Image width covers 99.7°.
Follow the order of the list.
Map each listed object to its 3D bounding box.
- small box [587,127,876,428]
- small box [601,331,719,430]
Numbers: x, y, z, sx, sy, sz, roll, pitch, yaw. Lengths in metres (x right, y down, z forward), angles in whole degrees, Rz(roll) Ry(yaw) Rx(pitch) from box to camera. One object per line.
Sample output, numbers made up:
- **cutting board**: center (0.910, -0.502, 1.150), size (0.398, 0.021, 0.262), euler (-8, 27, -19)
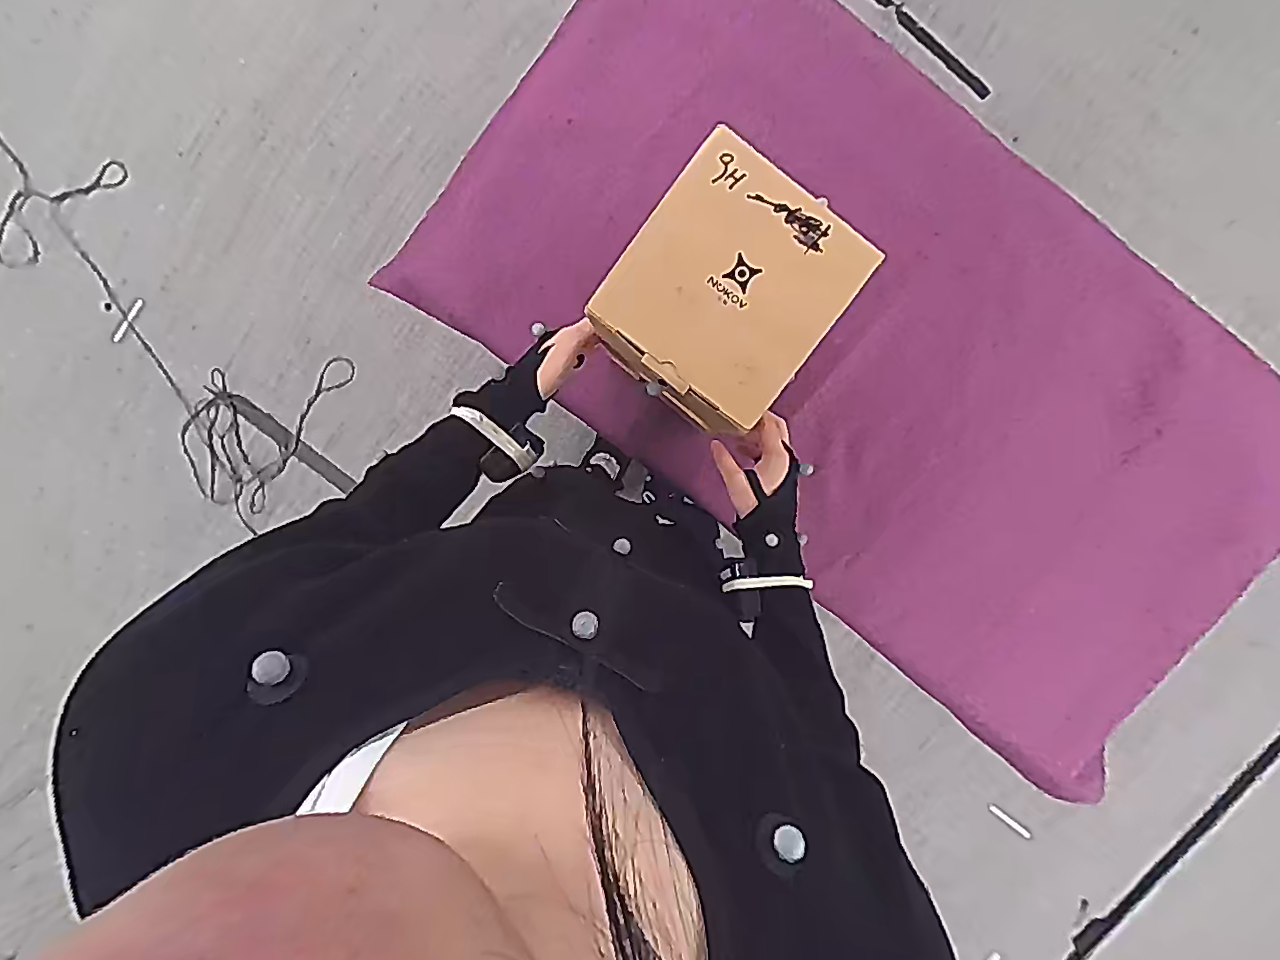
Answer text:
- **small box**: center (0.074, -0.166, 0.508), size (0.168, 0.176, 0.179), euler (37, 95, -4)
- **small box**: center (0.074, -0.178, 0.672), size (0.168, 0.176, 0.179), euler (39, 94, -4)
